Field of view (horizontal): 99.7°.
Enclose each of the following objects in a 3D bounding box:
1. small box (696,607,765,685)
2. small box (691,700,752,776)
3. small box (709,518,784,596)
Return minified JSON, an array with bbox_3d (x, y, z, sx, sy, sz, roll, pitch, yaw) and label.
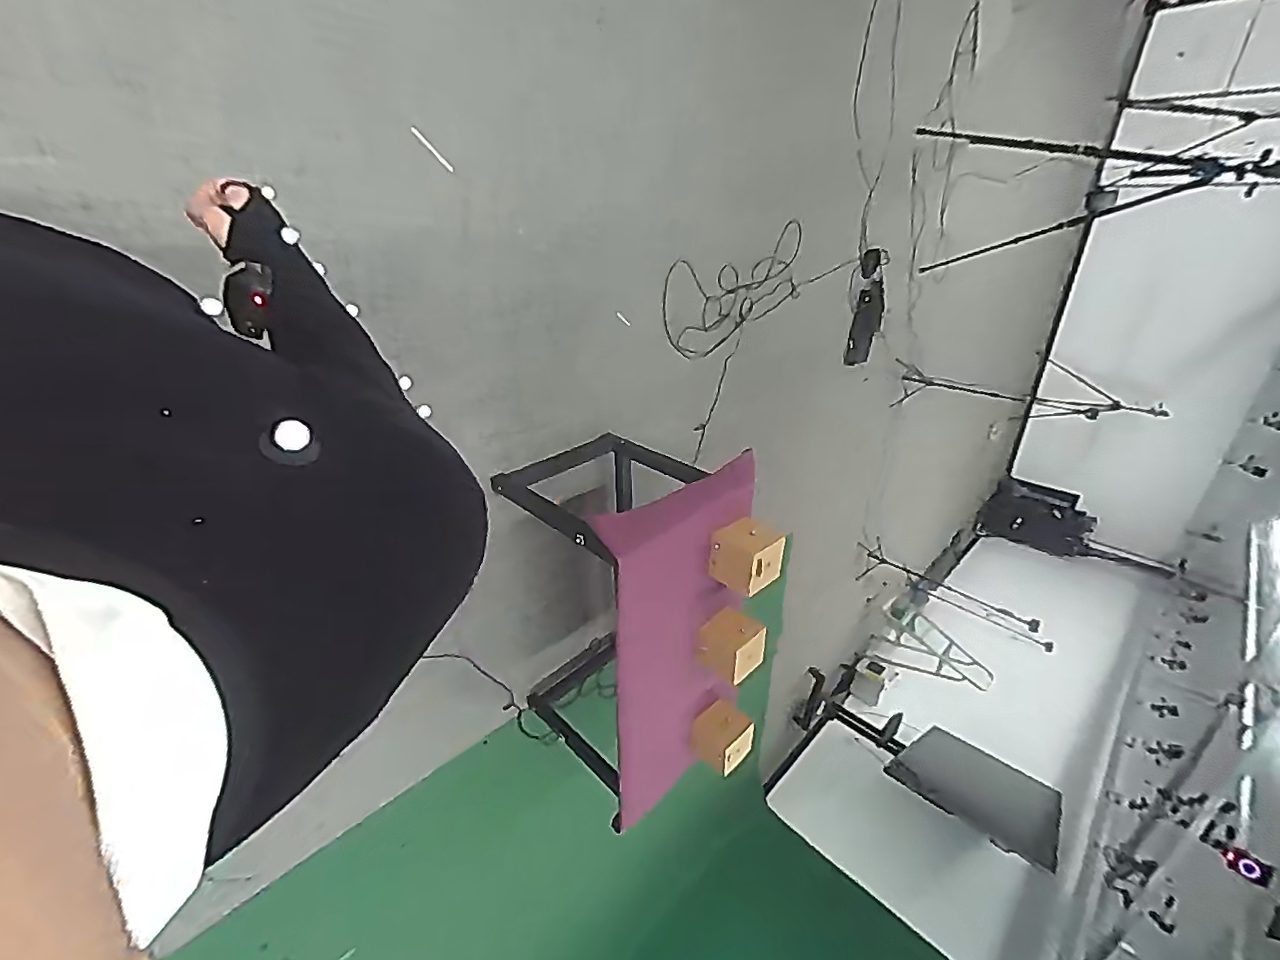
[{"bbox_3d":[0.323,0.585,1.934,0.179,0.176,0.168,-23,124,-38],"label":"small box"},{"bbox_3d":[0.321,1.010,2.139,0.179,0.176,0.168,-25,125,-38],"label":"small box"},{"bbox_3d":[0.348,0.248,1.787,0.179,0.176,0.168,-21,124,-39],"label":"small box"}]
